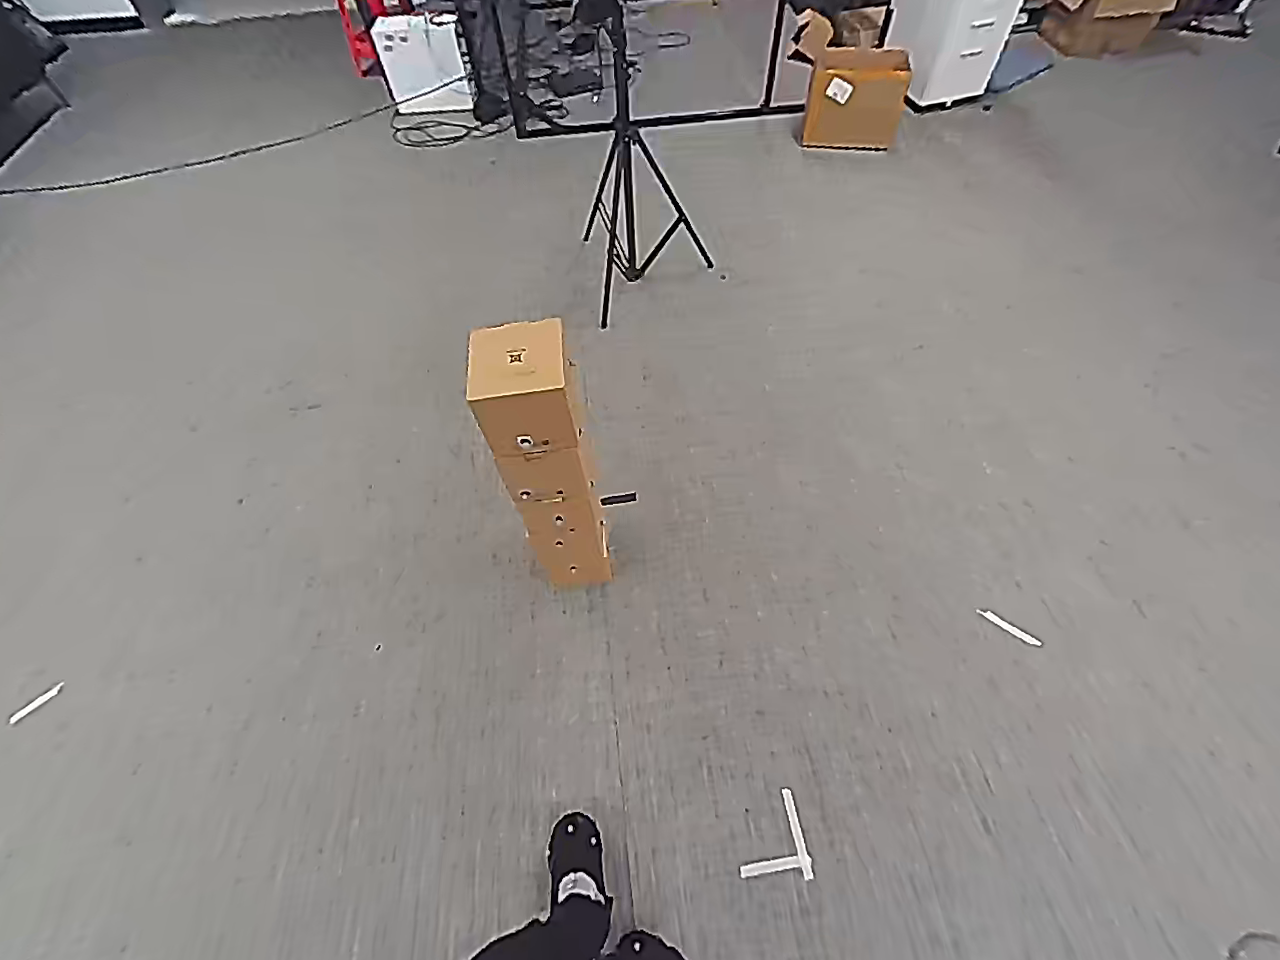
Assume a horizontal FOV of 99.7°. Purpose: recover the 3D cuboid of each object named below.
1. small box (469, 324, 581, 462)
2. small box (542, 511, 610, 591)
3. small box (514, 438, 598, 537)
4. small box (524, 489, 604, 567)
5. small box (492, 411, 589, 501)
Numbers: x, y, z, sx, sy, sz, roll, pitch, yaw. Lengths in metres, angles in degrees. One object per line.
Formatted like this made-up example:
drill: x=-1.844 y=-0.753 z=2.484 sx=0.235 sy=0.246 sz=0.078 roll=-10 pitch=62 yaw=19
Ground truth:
small box: x=-0.205 y=-0.157 z=0.994 sx=0.168 sy=0.176 sz=0.179 roll=-9 pitch=58 yaw=-1
small box: x=-0.179 y=0.203 z=1.539 sx=0.179 sy=0.176 sz=0.168 roll=-7 pitch=57 yaw=-2
small box: x=-0.190 y=0.024 z=1.265 sx=0.168 sy=0.176 sz=0.179 roll=-6 pitch=57 yaw=-1
small box: x=-0.192 y=0.117 z=1.400 sx=0.179 sy=0.176 sz=0.168 roll=-5 pitch=58 yaw=0
small box: x=-0.201 y=-0.068 z=1.129 sx=0.168 sy=0.176 sz=0.179 roll=-6 pitch=56 yaw=-1
